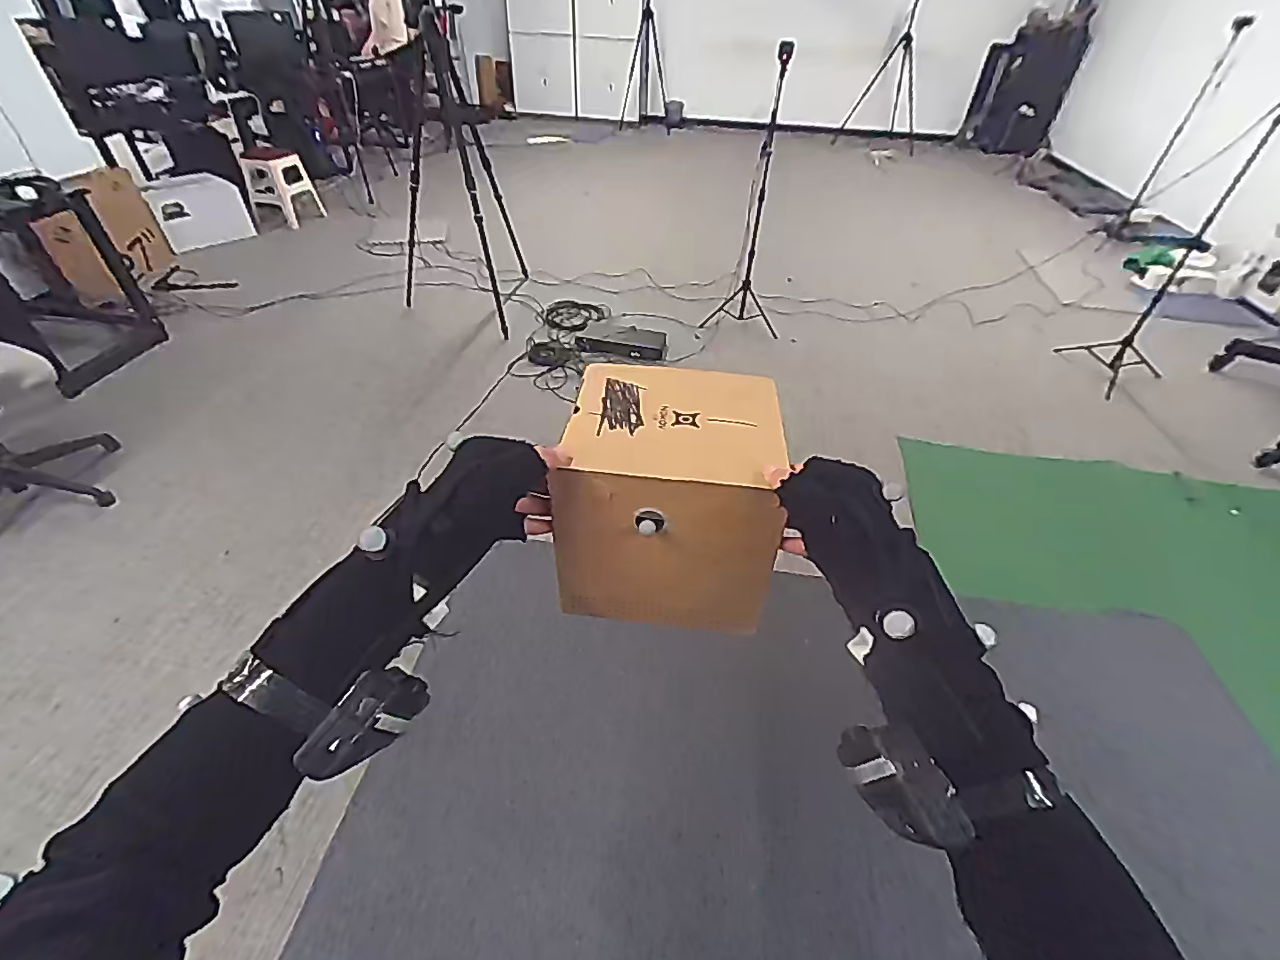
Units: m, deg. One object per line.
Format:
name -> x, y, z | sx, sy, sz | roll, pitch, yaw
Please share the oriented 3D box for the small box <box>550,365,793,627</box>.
small box -> 0.027, 0.013, 0.490 | 0.179, 0.176, 0.168 | 6, 39, 3
